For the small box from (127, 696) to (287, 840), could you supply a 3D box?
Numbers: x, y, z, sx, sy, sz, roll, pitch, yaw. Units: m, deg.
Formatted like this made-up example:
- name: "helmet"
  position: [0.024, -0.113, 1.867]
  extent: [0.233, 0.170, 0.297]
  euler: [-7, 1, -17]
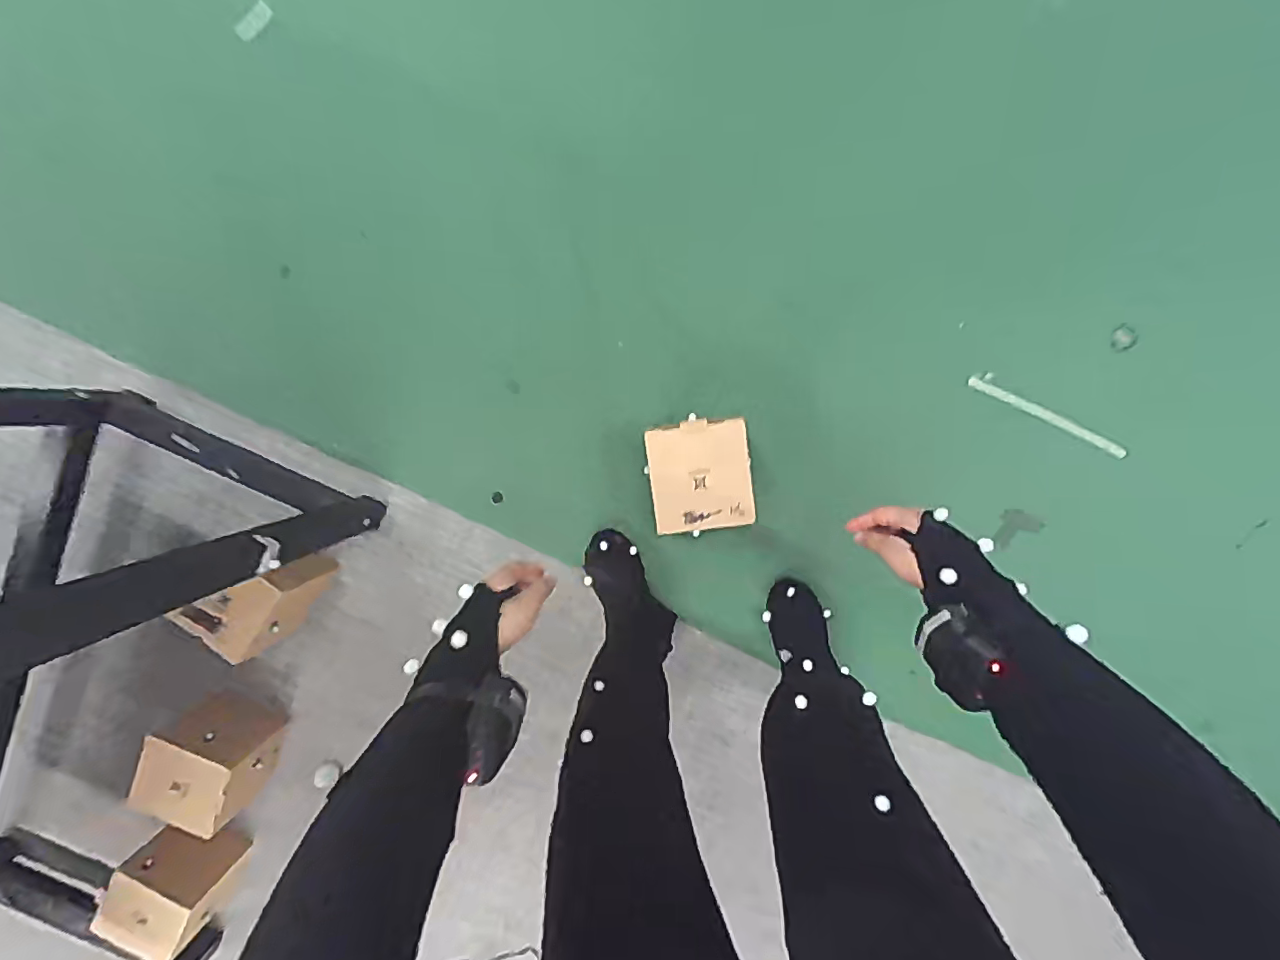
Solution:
- name: "small box"
  position: [-0.870, 0.575, 1.103]
  extent: [0.179, 0.176, 0.168]
  euler: [23, 98, 2]

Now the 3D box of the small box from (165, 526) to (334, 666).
- name: "small box"
  position: [-0.739, 0.214, 1.046]
  extent: [0.168, 0.176, 0.179]
  euler: [38, 97, -2]

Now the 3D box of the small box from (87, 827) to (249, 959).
- name: "small box"
  position: [-0.992, 0.865, 1.152]
  extent: [0.179, 0.176, 0.168]
  euler: [29, 99, 0]

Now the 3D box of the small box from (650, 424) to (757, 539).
- name: "small box"
  position: [0.107, -0.004, 0.961]
  extent: [0.168, 0.176, 0.179]
  euler: [-6, 96, 4]
